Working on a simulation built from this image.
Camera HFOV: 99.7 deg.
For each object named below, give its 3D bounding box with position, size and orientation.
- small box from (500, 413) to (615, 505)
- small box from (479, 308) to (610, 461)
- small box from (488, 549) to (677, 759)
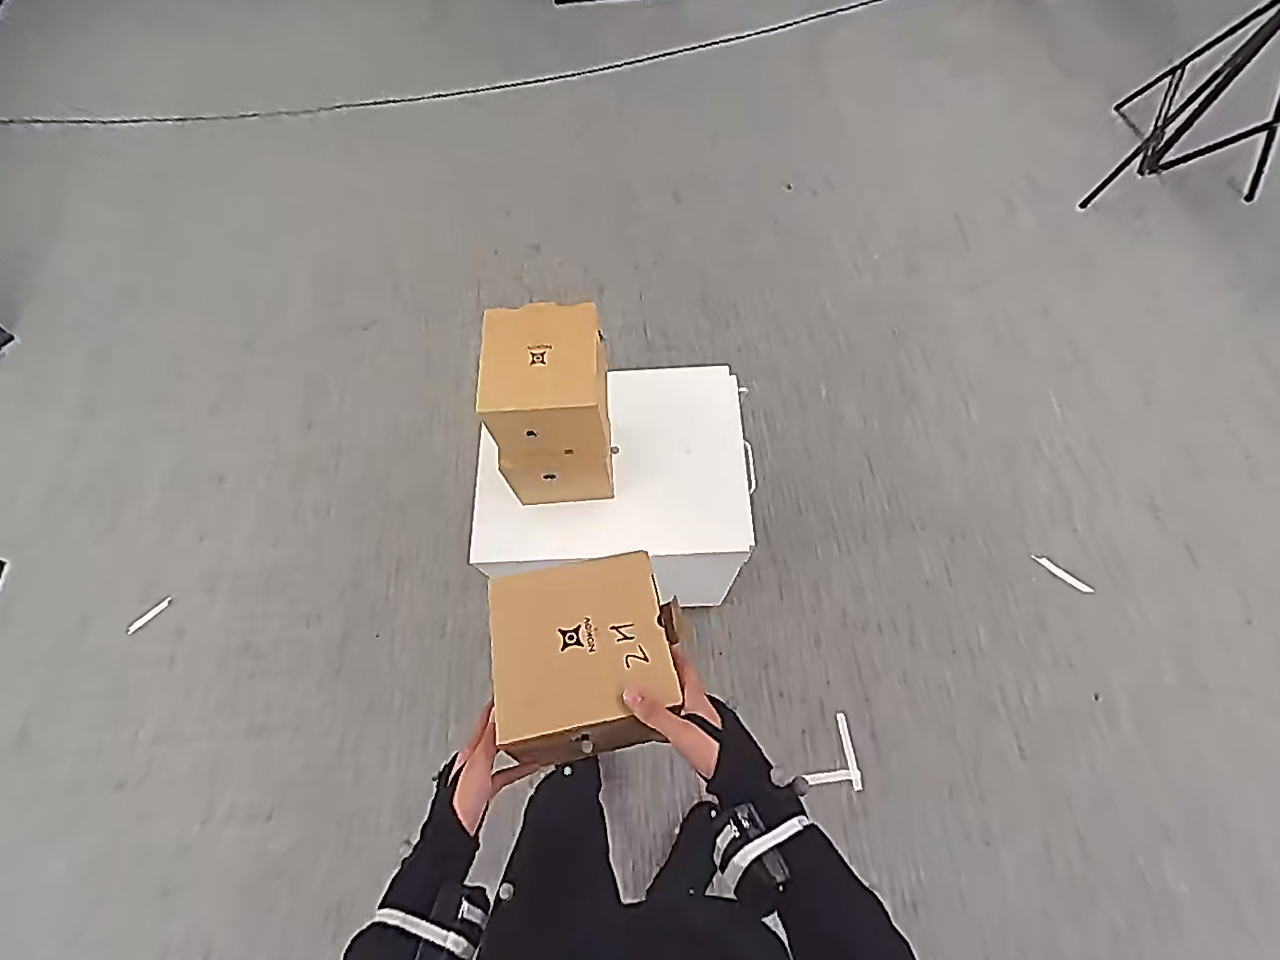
[{"bbox_3d":[-0.141,-0.060,0.975,0.179,0.176,0.168,-4,67,0],"label":"small box"},{"bbox_3d":[-0.136,-0.136,0.831,0.168,0.176,0.179,-3,66,1],"label":"small box"},{"bbox_3d":[-0.063,0.200,0.609,0.179,0.176,0.168,-9,56,-7],"label":"small box"}]
